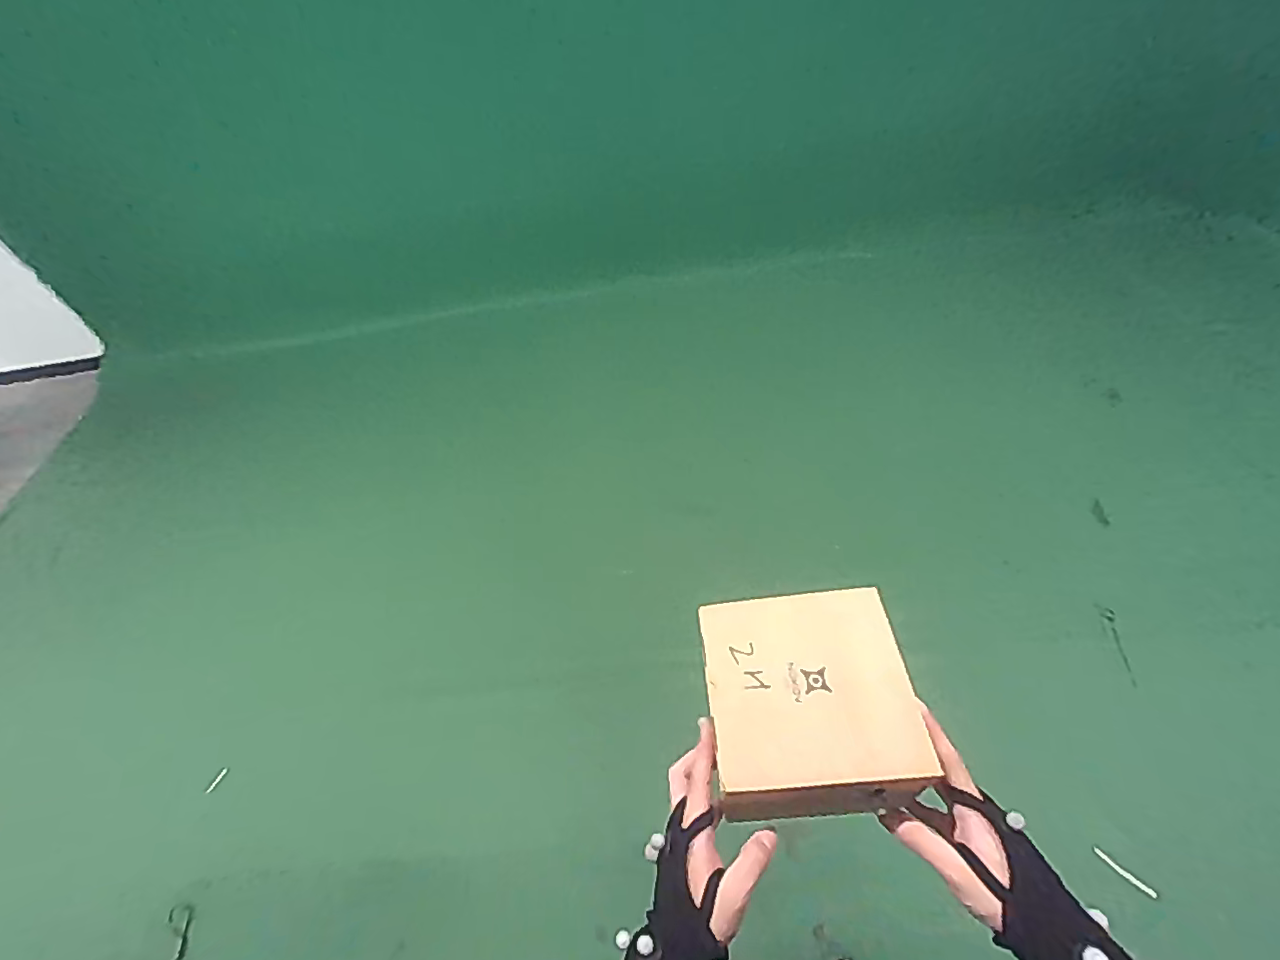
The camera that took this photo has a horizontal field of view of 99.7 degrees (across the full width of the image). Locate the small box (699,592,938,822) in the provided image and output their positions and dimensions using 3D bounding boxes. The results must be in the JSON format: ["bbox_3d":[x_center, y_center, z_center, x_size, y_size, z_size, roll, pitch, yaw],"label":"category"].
[{"bbox_3d":[0.155,0.229,0.536,0.179,0.176,0.168,-7,49,6],"label":"small box"}]
